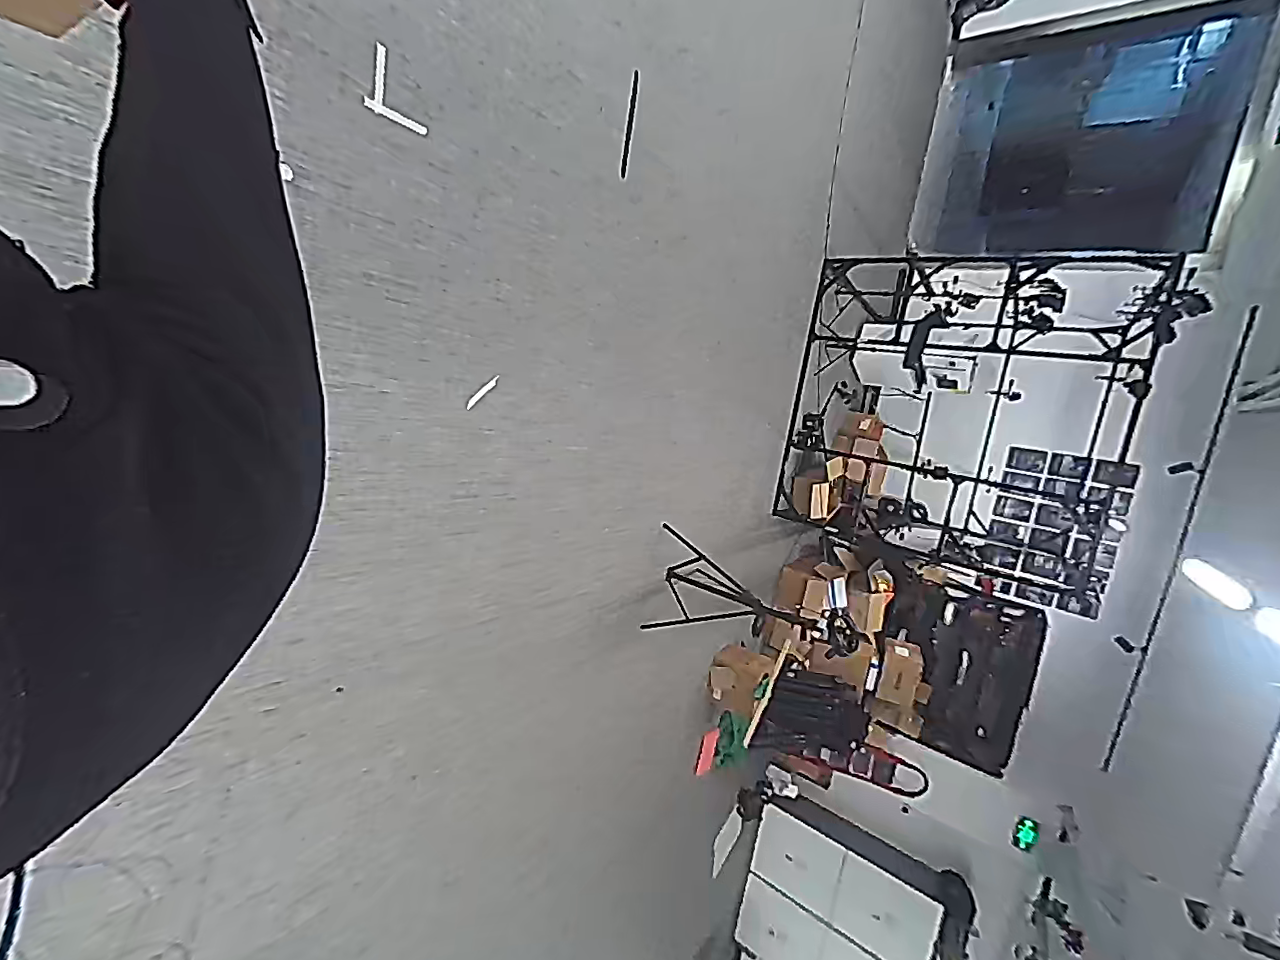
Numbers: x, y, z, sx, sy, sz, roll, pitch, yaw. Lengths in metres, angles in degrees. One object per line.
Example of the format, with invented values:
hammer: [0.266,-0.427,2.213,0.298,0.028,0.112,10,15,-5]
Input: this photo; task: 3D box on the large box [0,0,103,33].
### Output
large box: [-0.577,-0.547,0.291,0.408,0.320,0.320,-7,114,-54]
